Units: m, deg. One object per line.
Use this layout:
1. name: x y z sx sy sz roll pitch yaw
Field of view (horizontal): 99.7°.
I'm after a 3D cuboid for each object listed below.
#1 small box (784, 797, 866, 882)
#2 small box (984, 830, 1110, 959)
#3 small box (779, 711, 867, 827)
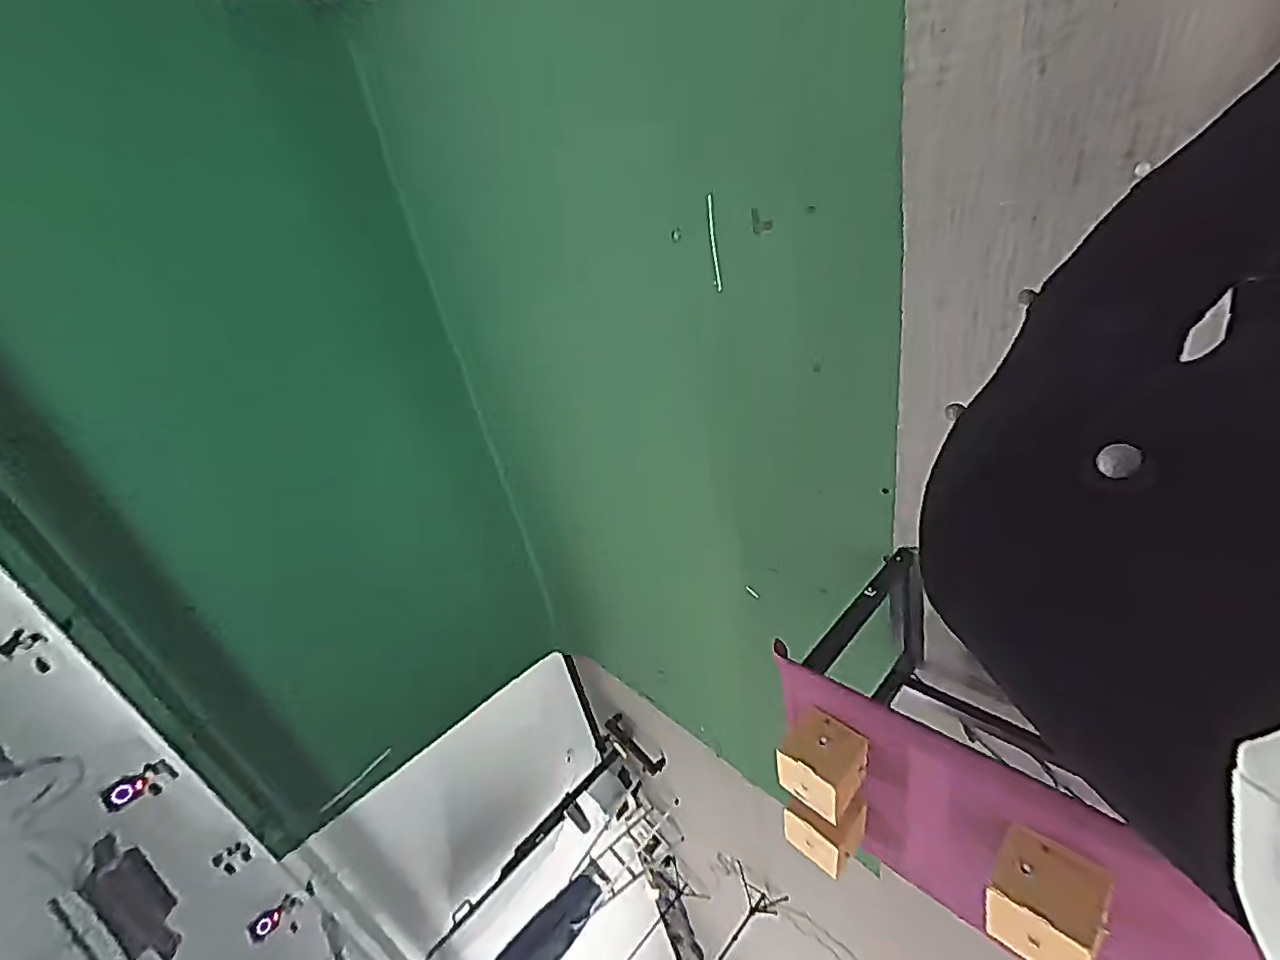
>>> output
1. small box: 0.536 0.995 1.565 0.168 0.176 0.179 21 131 42
2. small box: 0.816 0.860 1.087 0.168 0.176 0.179 14 129 48
3. small box: 0.485 0.757 1.434 0.168 0.176 0.179 22 134 42
